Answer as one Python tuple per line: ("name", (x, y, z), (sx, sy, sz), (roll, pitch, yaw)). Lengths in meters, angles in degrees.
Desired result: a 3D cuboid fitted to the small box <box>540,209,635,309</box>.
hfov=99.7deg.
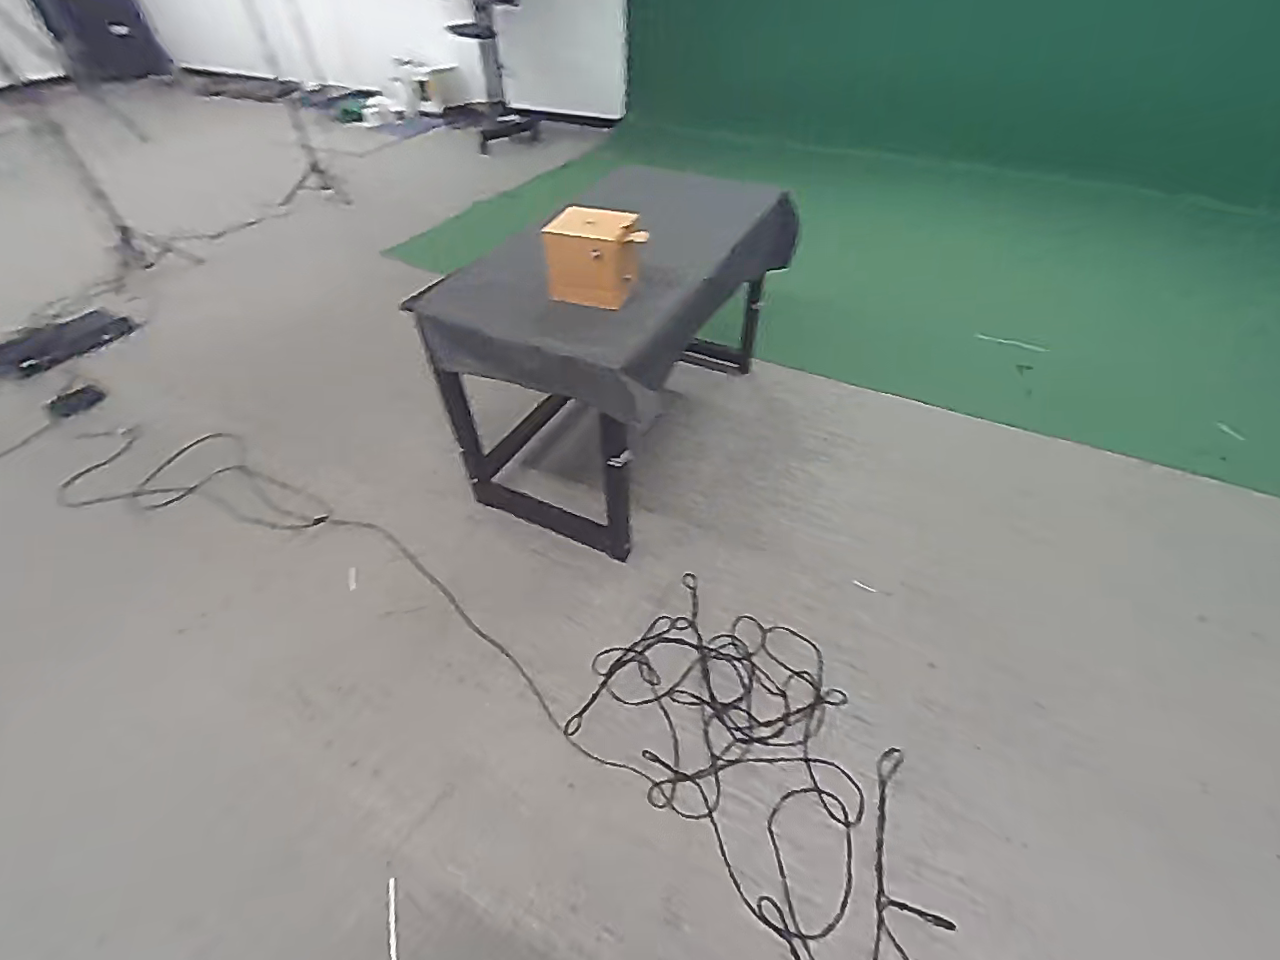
("small box", (-0.119, -0.530, 1.301), (0.179, 0.176, 0.168), (13, 47, 13))
